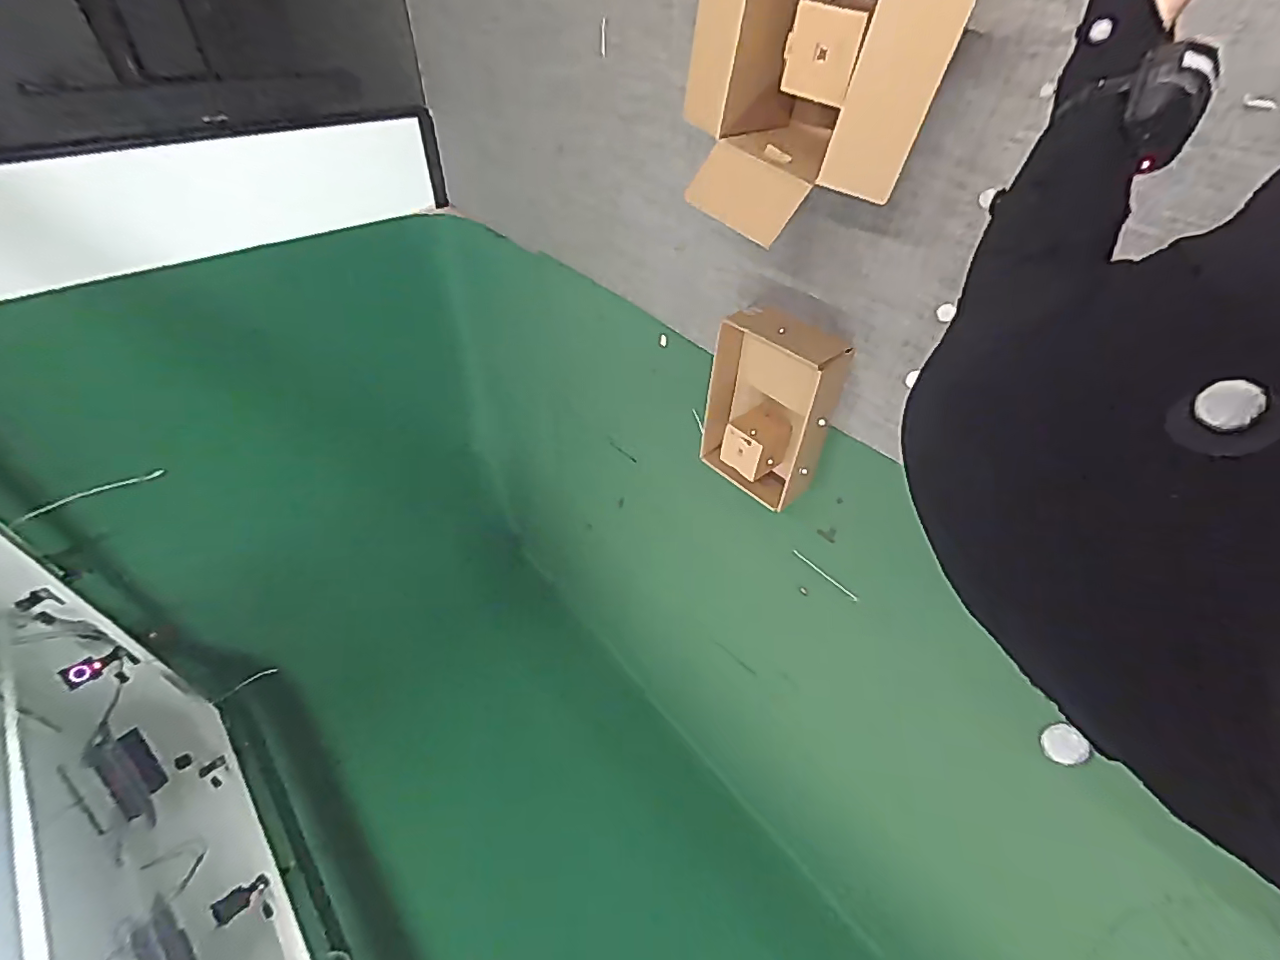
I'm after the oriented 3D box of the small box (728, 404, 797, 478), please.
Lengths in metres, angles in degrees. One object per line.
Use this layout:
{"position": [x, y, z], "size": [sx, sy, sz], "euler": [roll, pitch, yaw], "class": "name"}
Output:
{"position": [0.444, -0.144, 1.957], "size": [0.168, 0.176, 0.179], "euler": [41, 145, 32], "class": "small box"}
